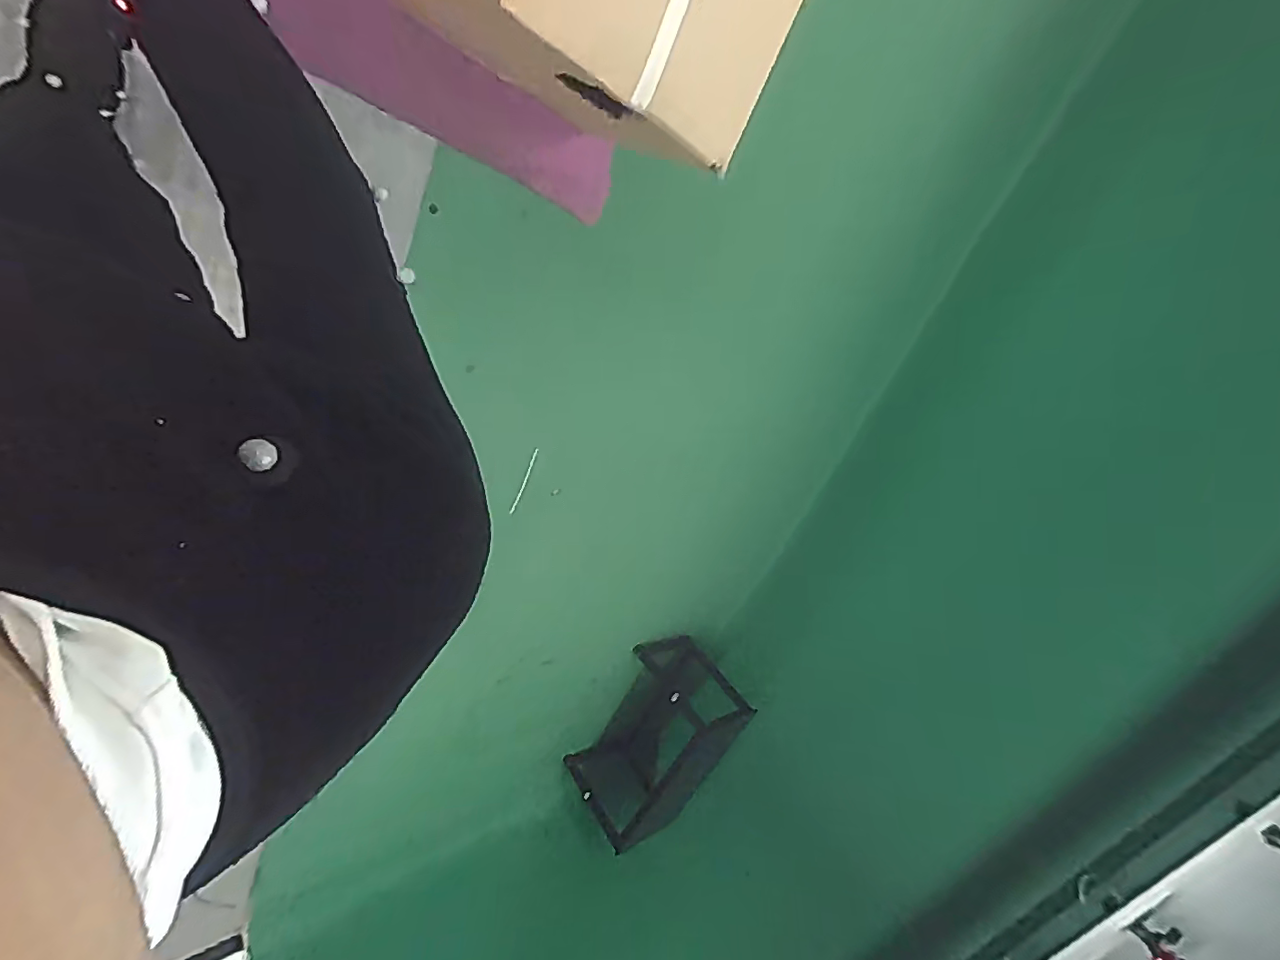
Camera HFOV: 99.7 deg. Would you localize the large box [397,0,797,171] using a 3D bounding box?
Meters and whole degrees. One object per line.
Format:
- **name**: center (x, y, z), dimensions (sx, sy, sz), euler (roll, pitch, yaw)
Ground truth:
- **large box**: center (-0.013, -0.629, 0.568), dimensions (0.320, 0.320, 0.408), euler (3, 122, -45)
